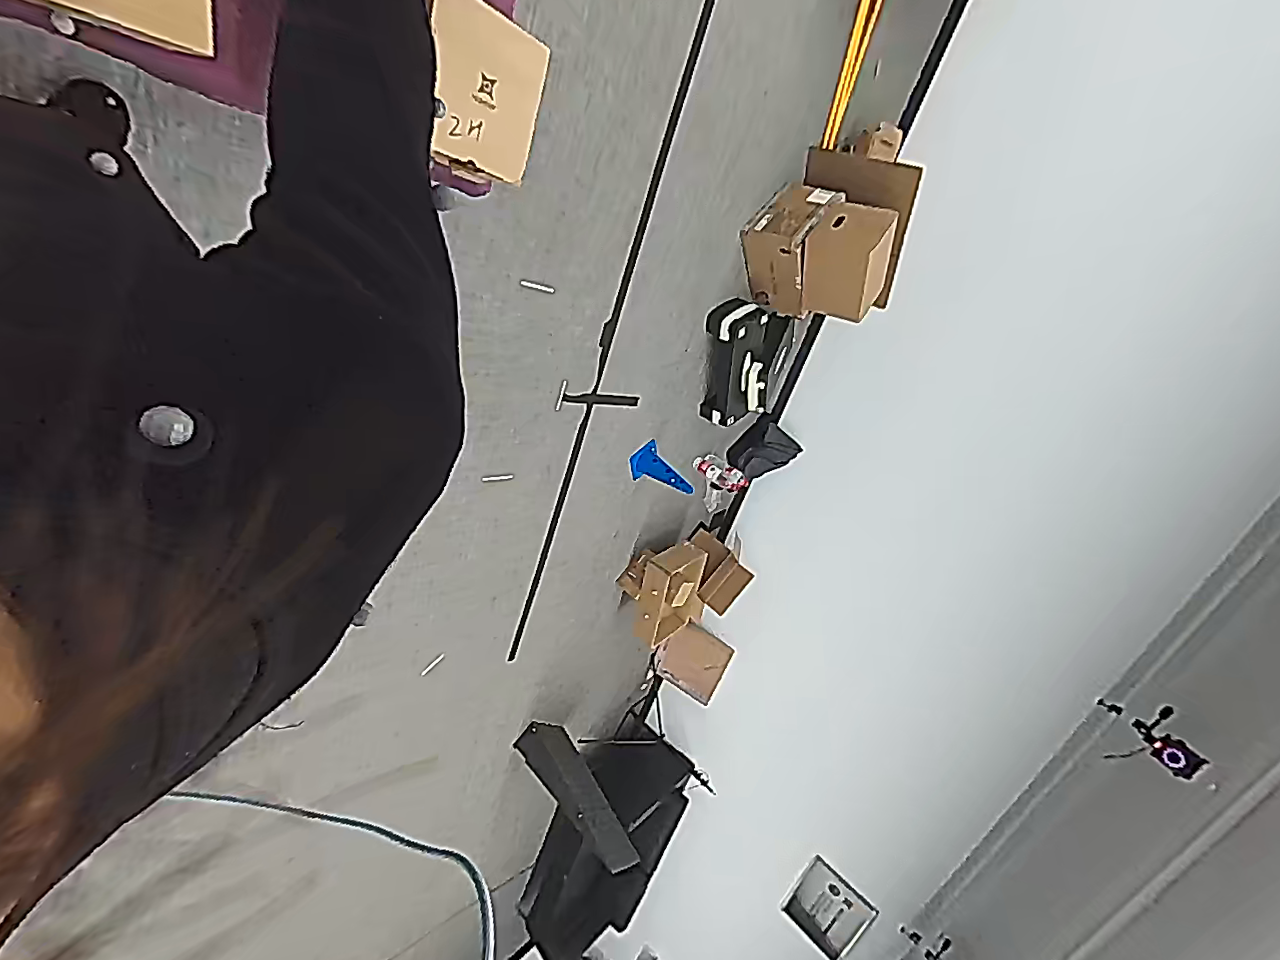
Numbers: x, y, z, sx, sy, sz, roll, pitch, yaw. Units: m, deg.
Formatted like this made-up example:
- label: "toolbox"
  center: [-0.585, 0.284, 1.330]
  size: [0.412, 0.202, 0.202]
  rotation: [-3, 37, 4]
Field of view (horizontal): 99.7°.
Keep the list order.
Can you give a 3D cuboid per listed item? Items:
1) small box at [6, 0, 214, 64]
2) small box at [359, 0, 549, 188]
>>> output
- label: "small box"
  center: [-0.484, -0.490, 0.452]
  size: [0.168, 0.176, 0.179]
  rotation: [-12, 128, -48]
- label: "small box"
  center: [-0.254, -0.526, 0.727]
  size: [0.168, 0.176, 0.179]
  rotation: [-6, 122, -50]
